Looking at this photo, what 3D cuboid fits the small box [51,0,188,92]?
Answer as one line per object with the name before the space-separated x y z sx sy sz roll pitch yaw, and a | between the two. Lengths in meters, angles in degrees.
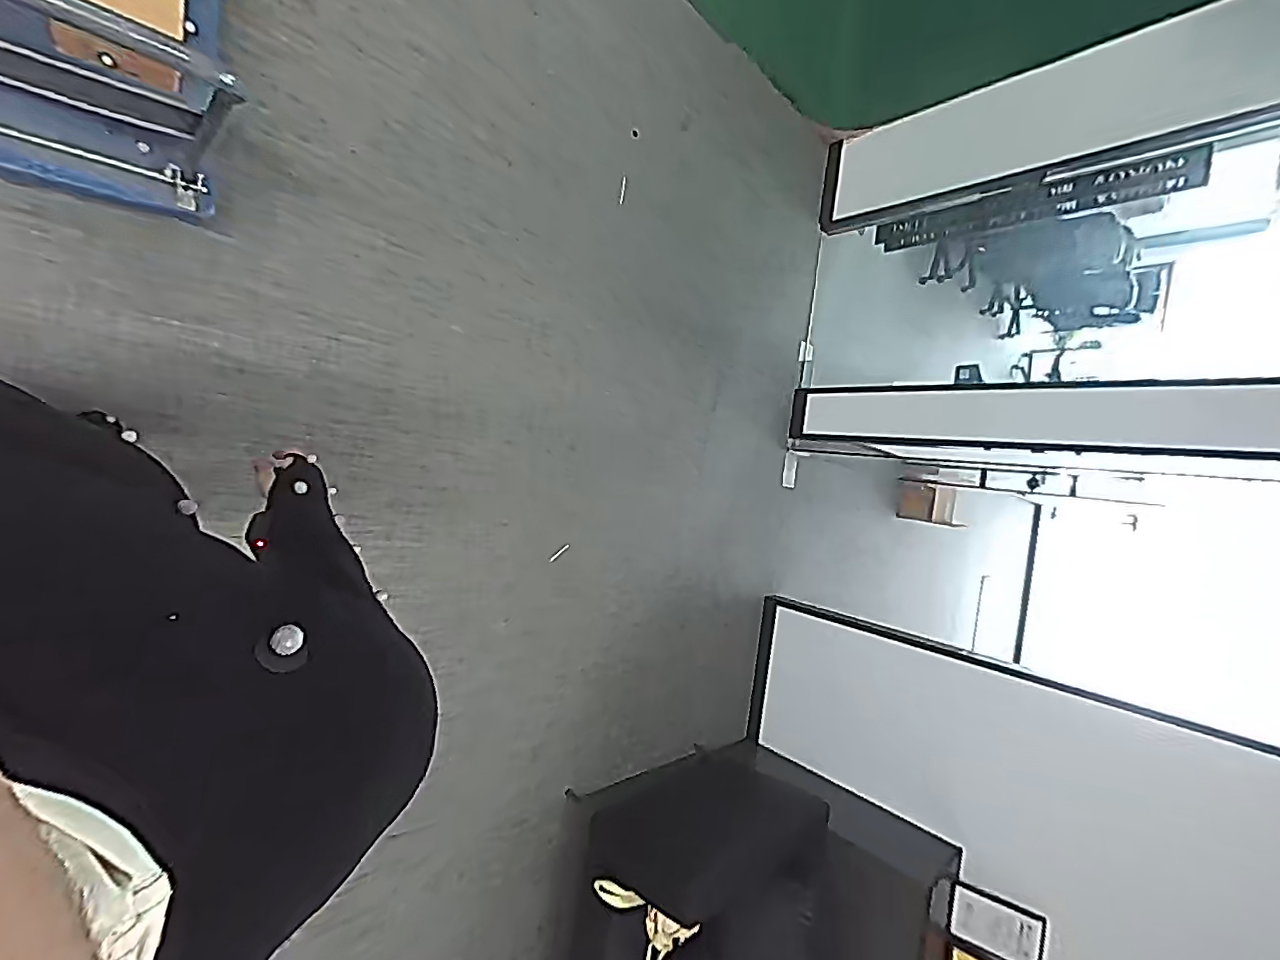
small box | -0.909 -0.837 0.948 0.168 0.176 0.179 1 96 -44
